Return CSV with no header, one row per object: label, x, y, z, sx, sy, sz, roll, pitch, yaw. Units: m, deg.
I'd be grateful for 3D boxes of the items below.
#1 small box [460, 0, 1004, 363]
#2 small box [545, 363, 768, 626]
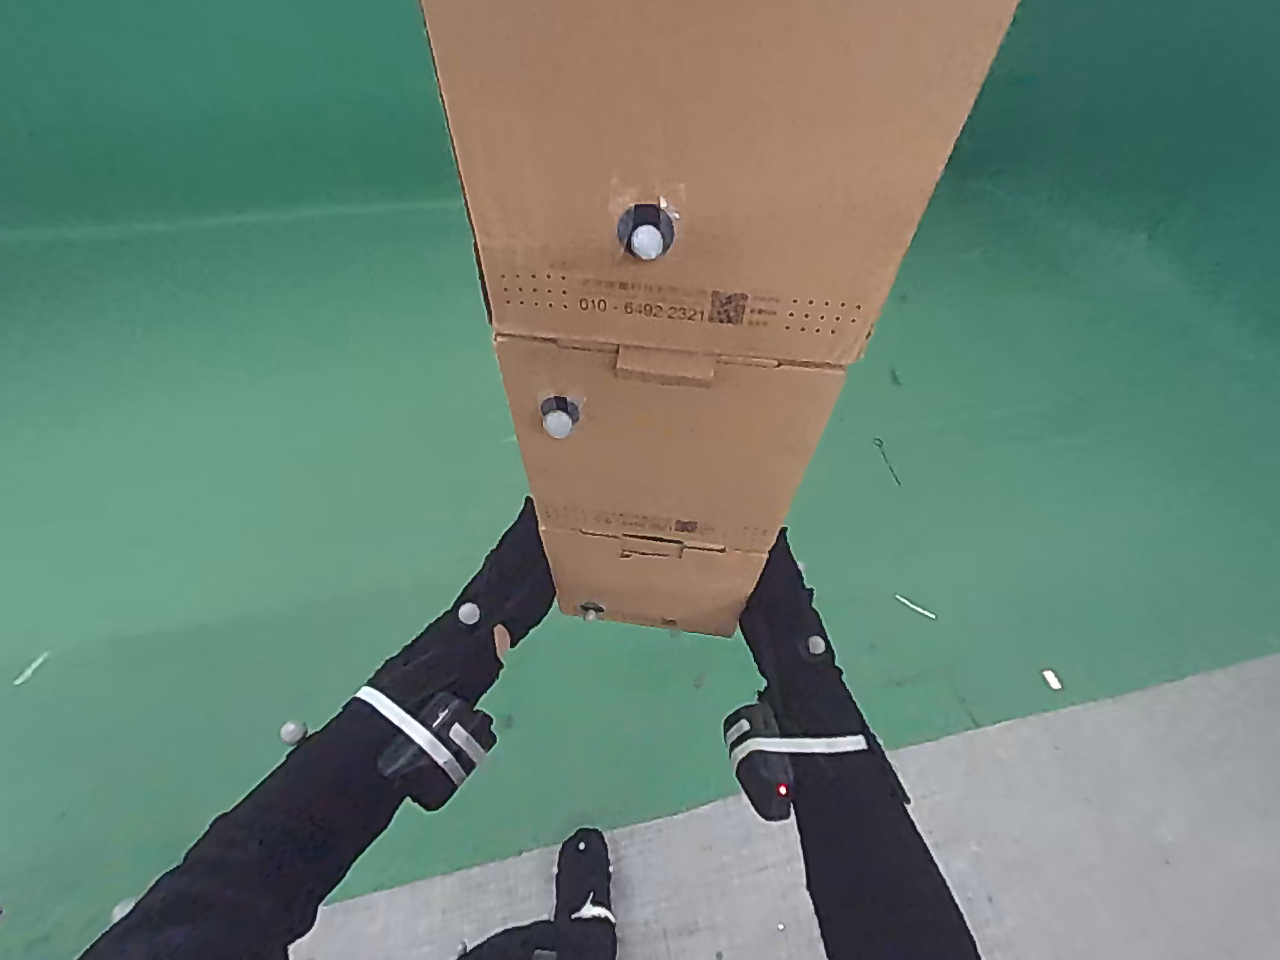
small box,0.027,-0.179,0.243,0.168,0.176,0.179,6,54,2
small box,0.021,0.019,0.503,0.168,0.176,0.179,7,54,4
